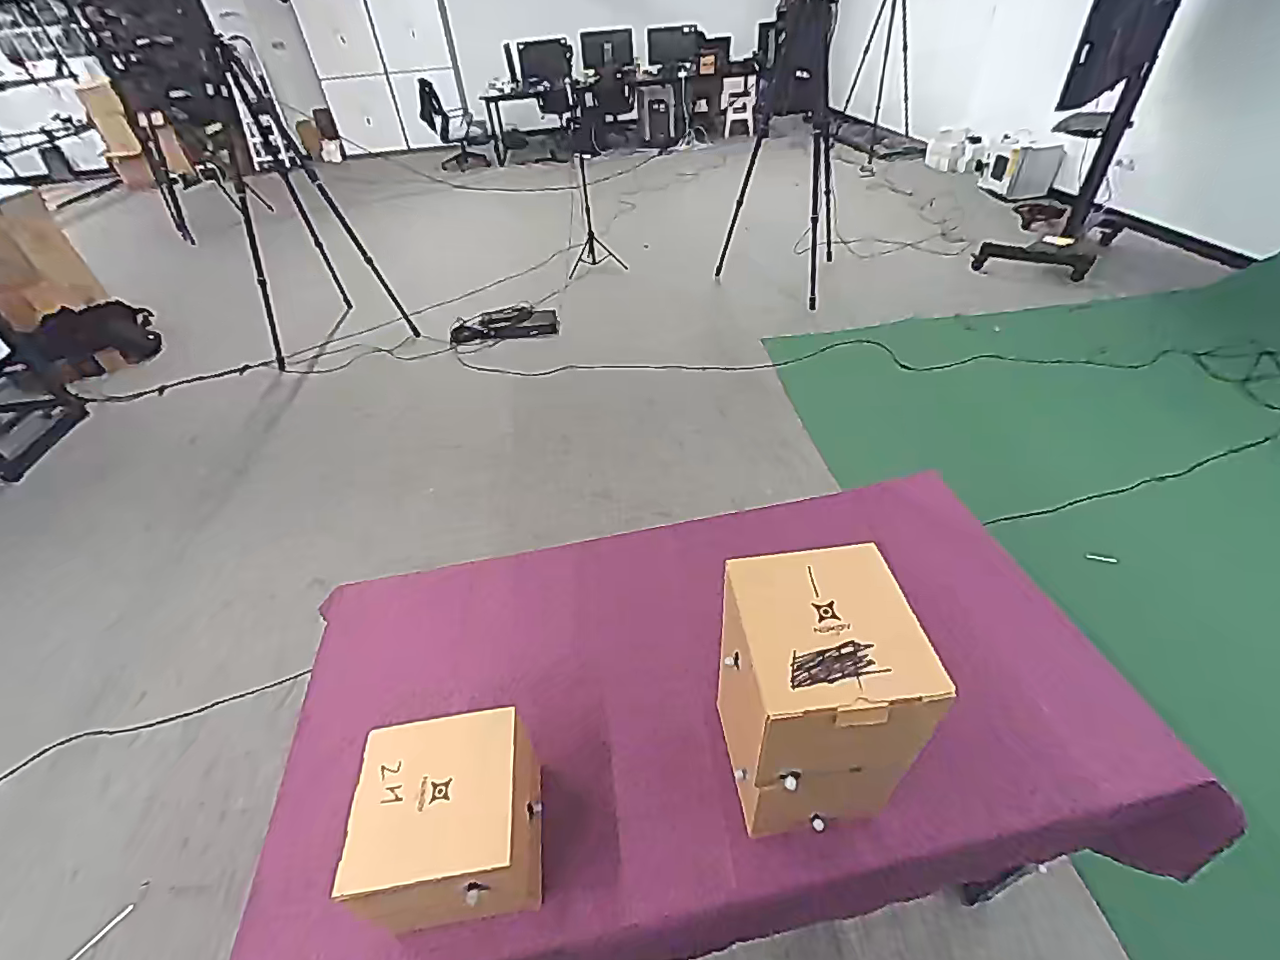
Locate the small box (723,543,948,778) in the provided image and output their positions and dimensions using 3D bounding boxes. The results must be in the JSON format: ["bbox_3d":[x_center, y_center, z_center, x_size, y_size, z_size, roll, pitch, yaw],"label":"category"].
[{"bbox_3d":[0.186,0.195,0.574,0.168,0.176,0.179,-7,41,0],"label":"small box"}]

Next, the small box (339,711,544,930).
[{"bbox_3d":[-0.212,0.404,0.642,0.179,0.176,0.168,-9,41,-3],"label":"small box"}]
